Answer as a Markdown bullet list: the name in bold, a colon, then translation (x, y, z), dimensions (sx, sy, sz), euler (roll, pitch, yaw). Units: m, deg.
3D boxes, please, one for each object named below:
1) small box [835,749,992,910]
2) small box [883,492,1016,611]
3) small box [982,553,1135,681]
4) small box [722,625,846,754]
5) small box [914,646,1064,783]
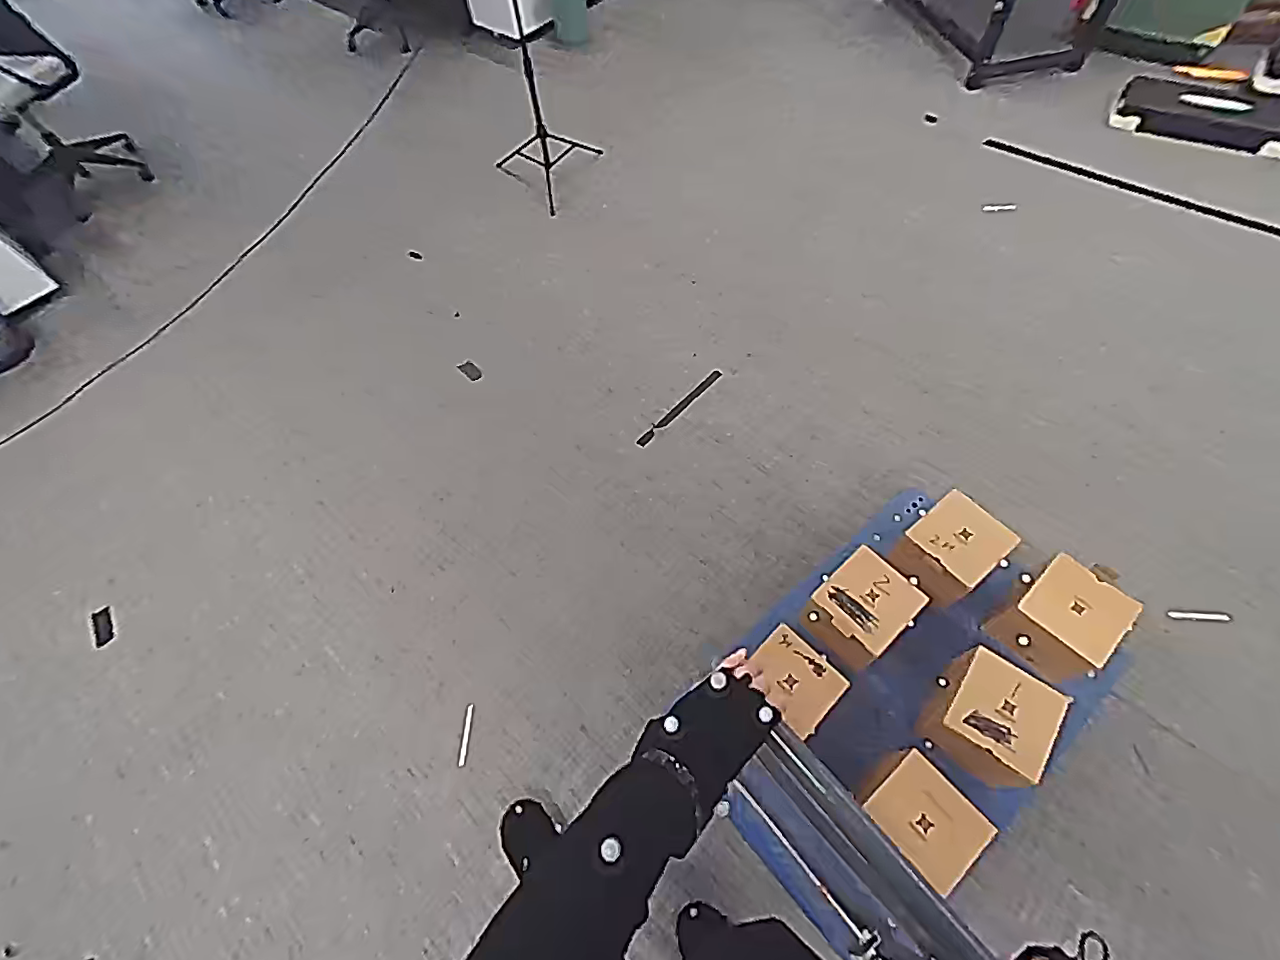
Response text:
- **small box**: translation (0.477, 0.621, 0.977), dimensions (0.179, 0.176, 0.168), euler (-36, 64, -17)
- **small box**: translation (0.686, 0.165, 1.222), dimensions (0.179, 0.176, 0.168), euler (-36, 63, -15)
- **small box**: translation (0.863, 0.293, 1.137), dimensions (0.179, 0.176, 0.168), euler (-40, 64, -17)
- **small box**: translation (0.282, 0.431, 1.099), dimensions (0.179, 0.176, 0.168), euler (-40, 66, -17)
- **small box**: translation (0.665, 0.462, 1.053), dimensions (0.168, 0.176, 0.179), euler (33, 67, 21)
